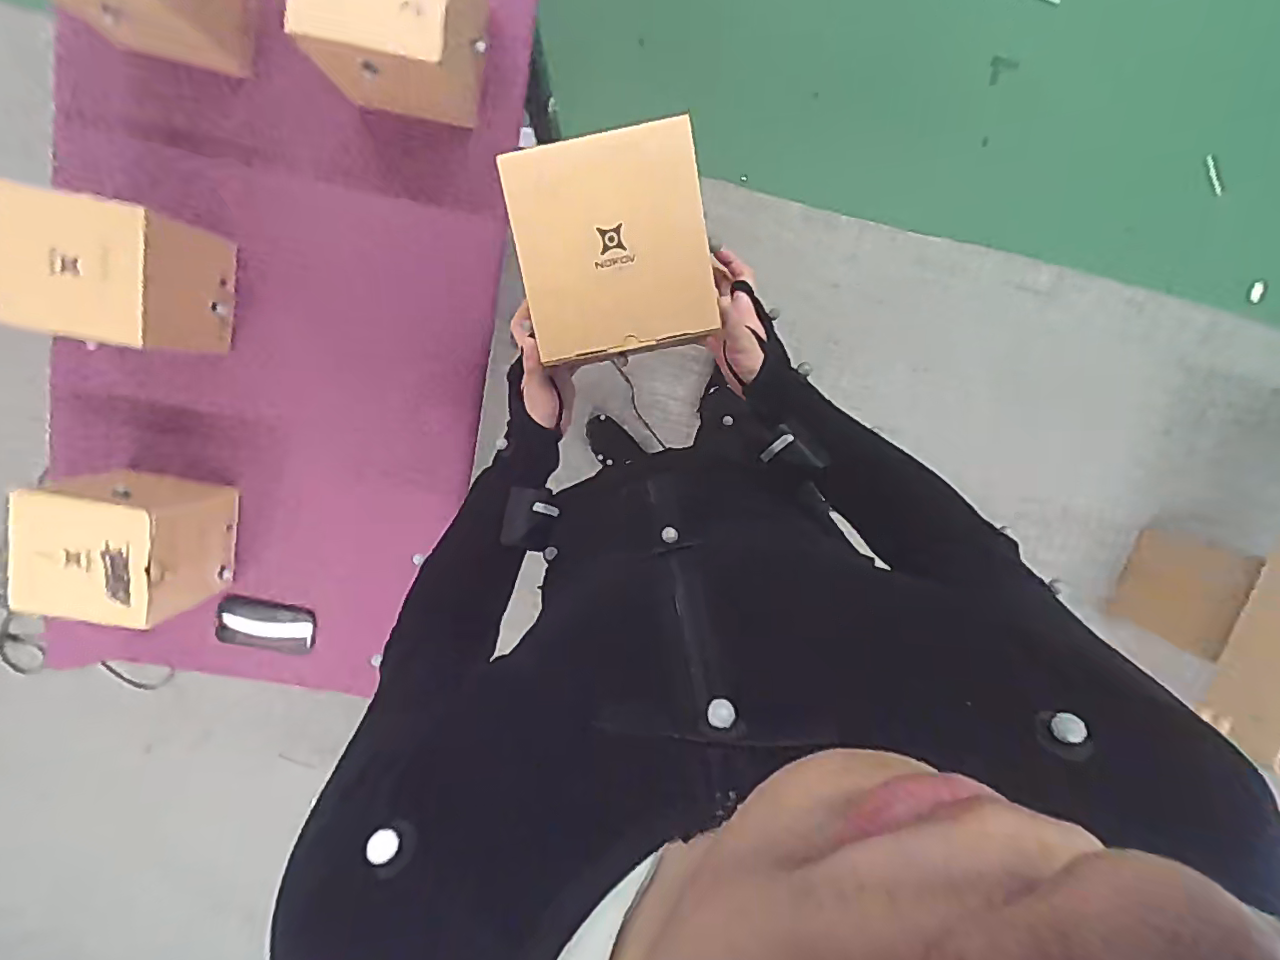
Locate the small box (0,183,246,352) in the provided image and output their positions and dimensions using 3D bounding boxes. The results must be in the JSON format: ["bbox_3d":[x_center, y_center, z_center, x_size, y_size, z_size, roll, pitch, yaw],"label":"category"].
[{"bbox_3d":[-0.683,-0.271,0.731,0.179,0.176,0.168,10,100,-4],"label":"small box"}]

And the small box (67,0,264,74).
[{"bbox_3d":[-0.608,-0.647,0.667,0.179,0.176,0.168,12,100,-4],"label":"small box"}]

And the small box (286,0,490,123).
[{"bbox_3d":[-0.305,-0.587,0.683,0.179,0.176,0.168,10,101,-4],"label":"small box"}]

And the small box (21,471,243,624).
[{"bbox_3d":[-0.723,0.088,0.789,0.179,0.176,0.168,10,99,-3],"label":"small box"}]

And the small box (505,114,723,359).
[{"bbox_3d":[-0.021,-0.221,0.540,0.168,0.176,0.179,-10,103,2],"label":"small box"}]
